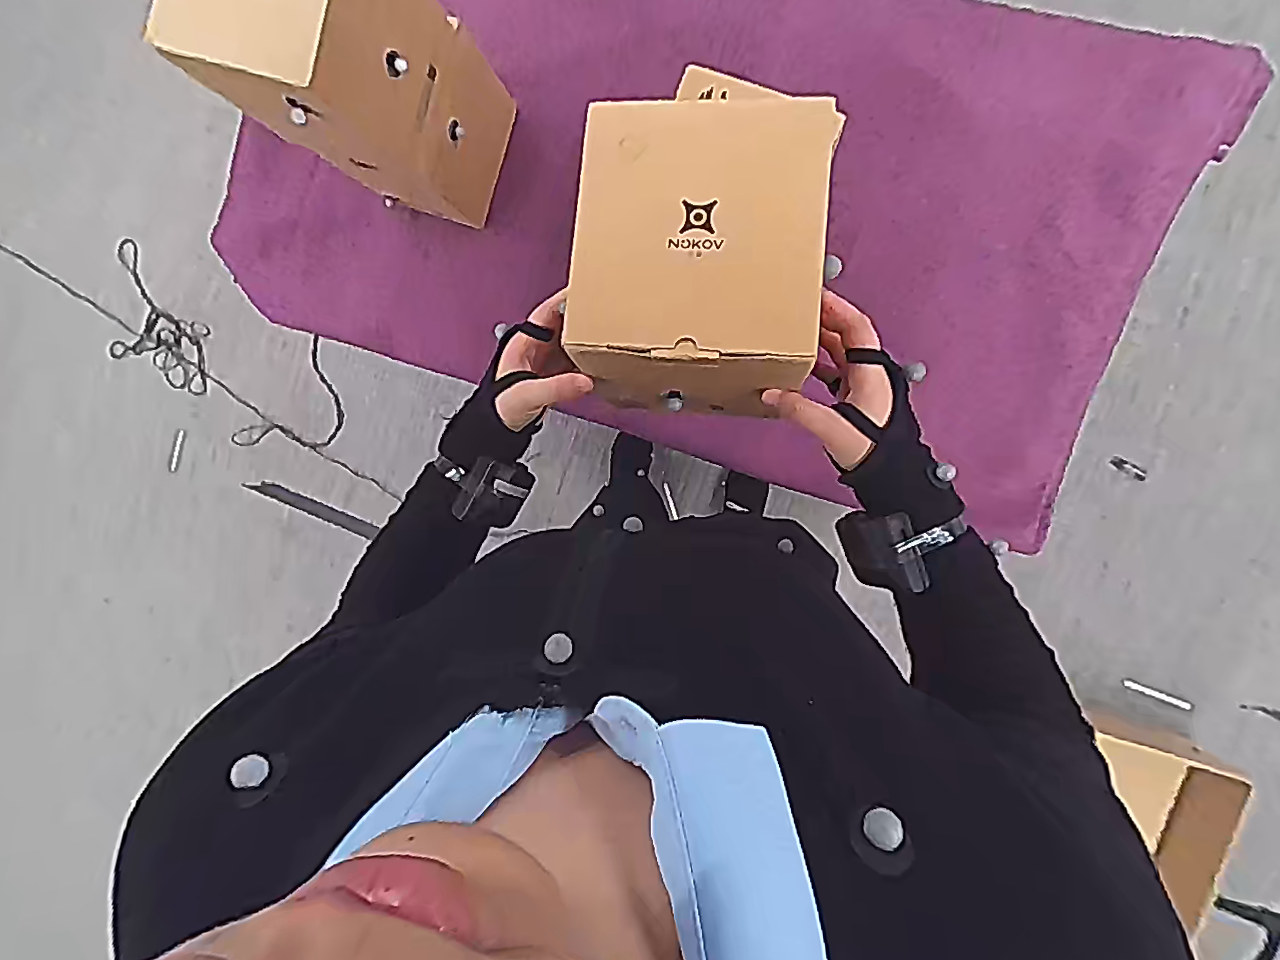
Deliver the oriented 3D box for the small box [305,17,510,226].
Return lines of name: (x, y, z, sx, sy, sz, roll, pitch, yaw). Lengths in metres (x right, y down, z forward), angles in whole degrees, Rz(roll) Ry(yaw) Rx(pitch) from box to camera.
small box: (-0.290, -0.459, 0.699, 0.168, 0.176, 0.179, 20, 97, 7)

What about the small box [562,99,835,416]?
small box: (0.047, -0.160, 0.431, 0.168, 0.176, 0.179, 5, 85, 8)

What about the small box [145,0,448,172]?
small box: (-0.322, -0.440, 0.539, 0.179, 0.176, 0.168, 19, 97, 8)
